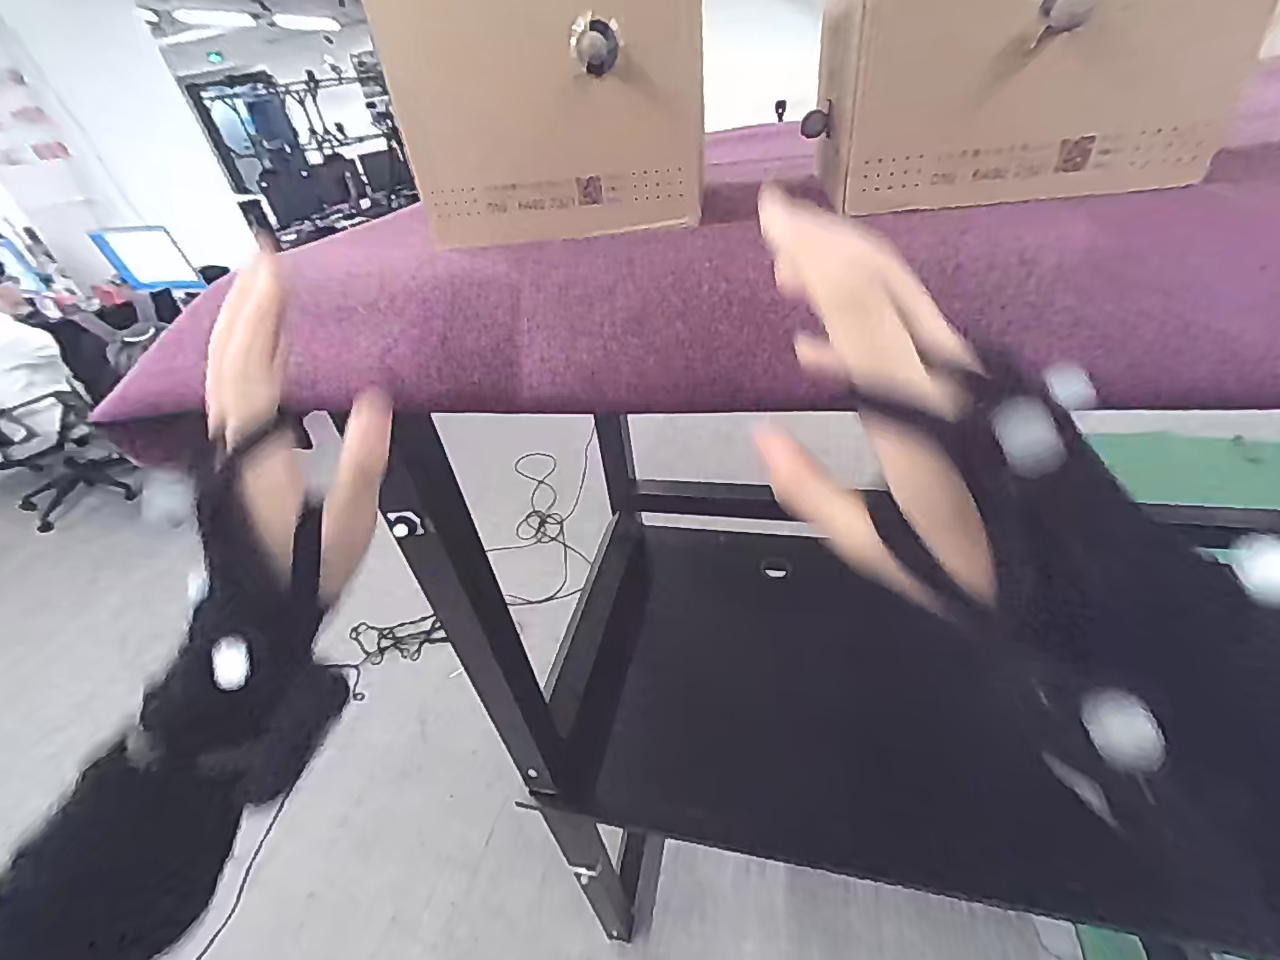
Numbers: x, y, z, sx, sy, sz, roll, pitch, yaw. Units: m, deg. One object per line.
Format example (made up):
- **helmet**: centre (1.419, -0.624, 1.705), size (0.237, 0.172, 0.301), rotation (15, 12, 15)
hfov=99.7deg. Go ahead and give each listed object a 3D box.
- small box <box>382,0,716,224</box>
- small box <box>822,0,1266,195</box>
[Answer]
- **small box**: centre (-0.038, -0.266, 0.342), size (0.168, 0.176, 0.179), rotation (0, 36, 9)
- **small box**: centre (0.198, -0.261, 0.292), size (0.168, 0.176, 0.179), rotation (1, 37, 11)
